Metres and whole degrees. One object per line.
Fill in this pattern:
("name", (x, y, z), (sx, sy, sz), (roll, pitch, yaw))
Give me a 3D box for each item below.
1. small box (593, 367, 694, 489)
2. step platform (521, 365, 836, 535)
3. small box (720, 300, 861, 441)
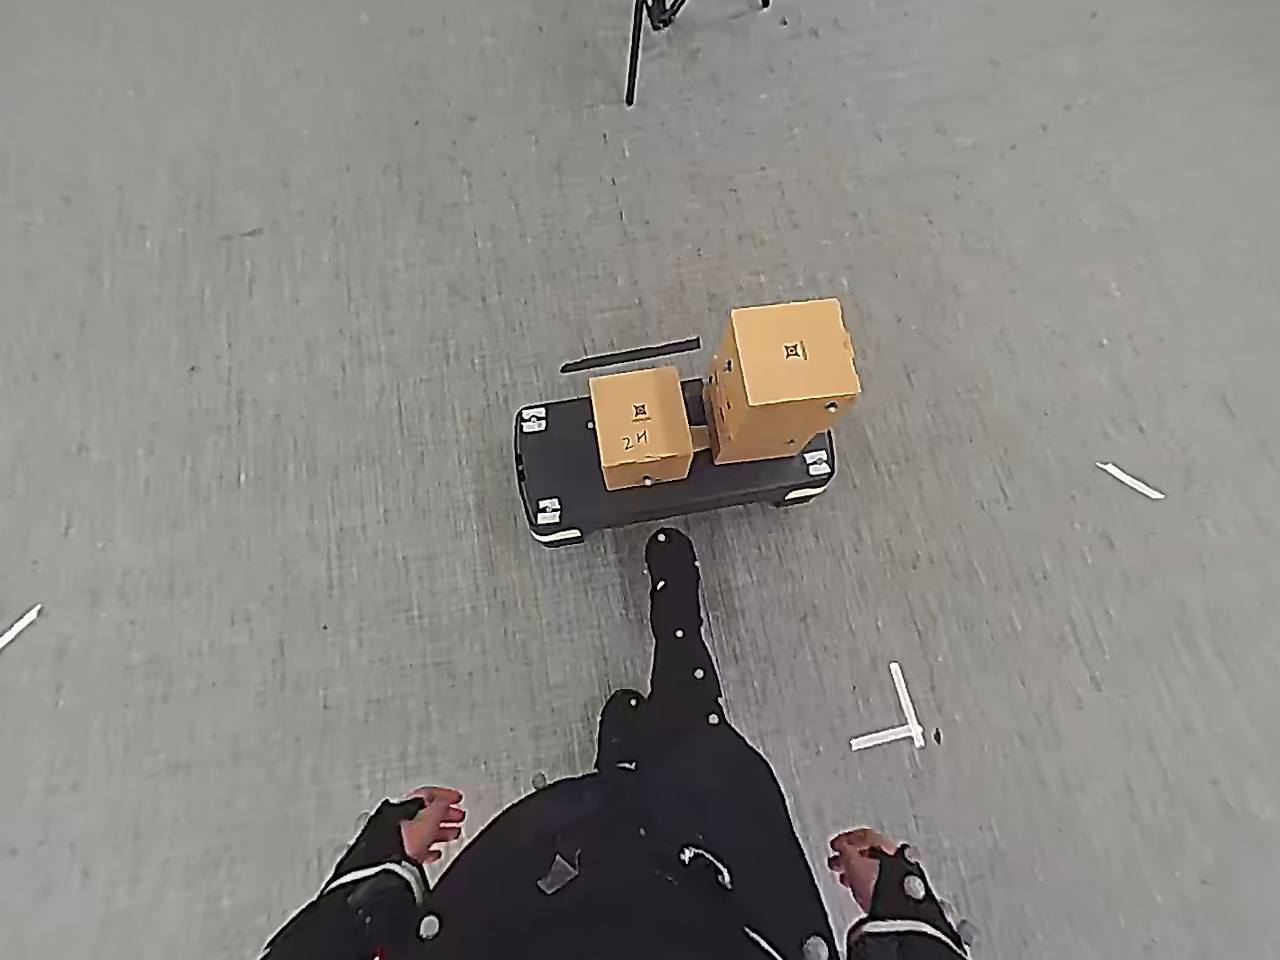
("small box", (0.002, -0.094, 1.047), (0.168, 0.176, 0.179), (-9, 75, -2))
("step platform", (0.080, -0.080, 1.223), (0.684, 0.204, 0.286), (-10, 75, -2))
("small box", (0.236, -0.174, 0.901), (0.179, 0.176, 0.168), (-7, 75, -3))
